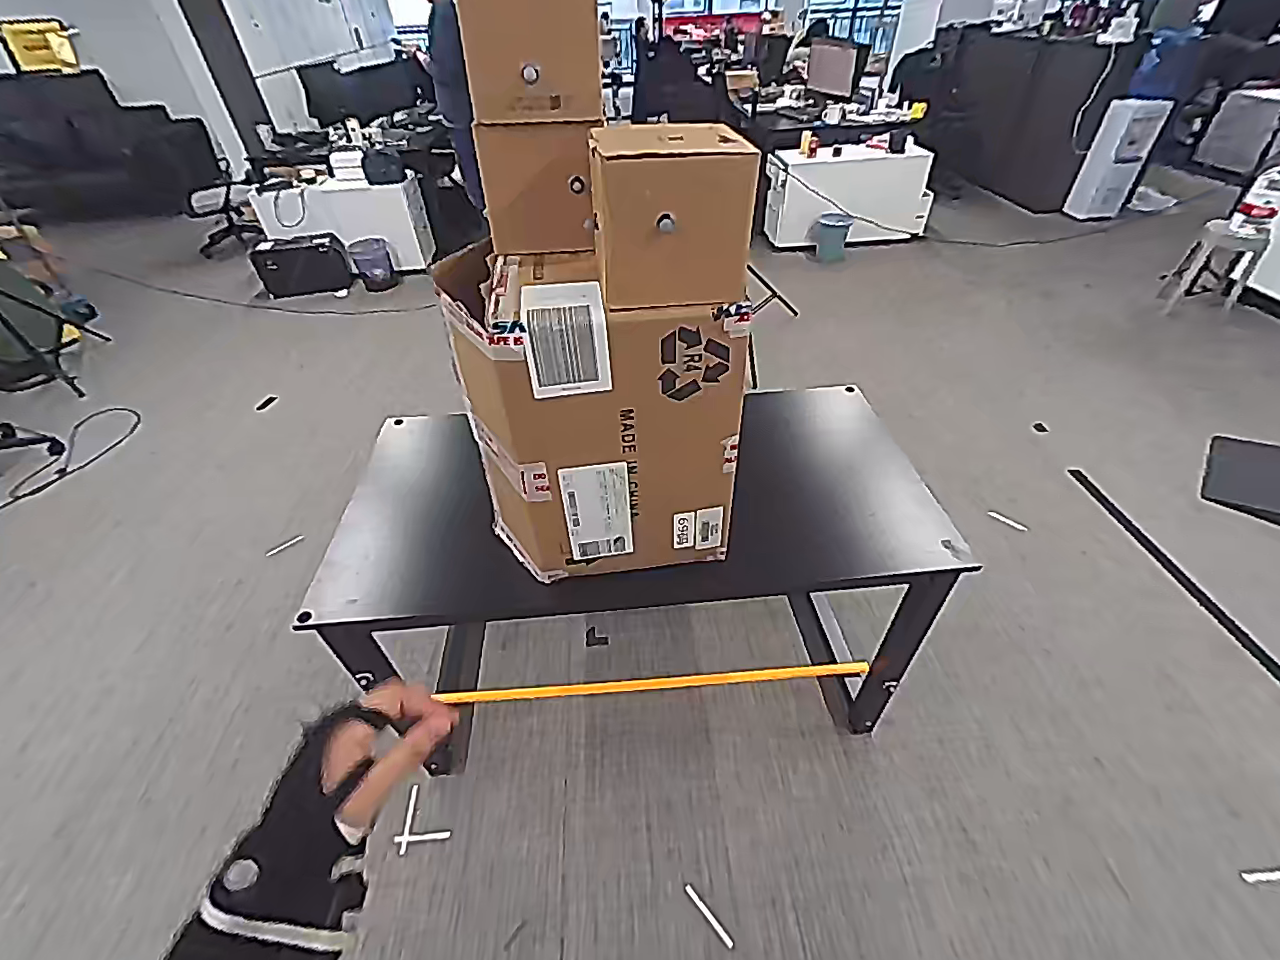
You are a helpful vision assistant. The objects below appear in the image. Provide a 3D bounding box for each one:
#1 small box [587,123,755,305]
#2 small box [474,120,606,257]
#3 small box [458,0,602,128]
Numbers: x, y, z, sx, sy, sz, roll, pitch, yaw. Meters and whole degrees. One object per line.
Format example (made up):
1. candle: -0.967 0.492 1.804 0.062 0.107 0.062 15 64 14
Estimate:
1. small box: 0.032 -0.334 0.684 0.179 0.176 0.168 -6 44 -5
2. small box: -0.141 -0.454 0.826 0.179 0.176 0.168 -6 39 -5
3. small box: -0.141 -0.578 0.717 0.168 0.176 0.179 -5 40 -5
